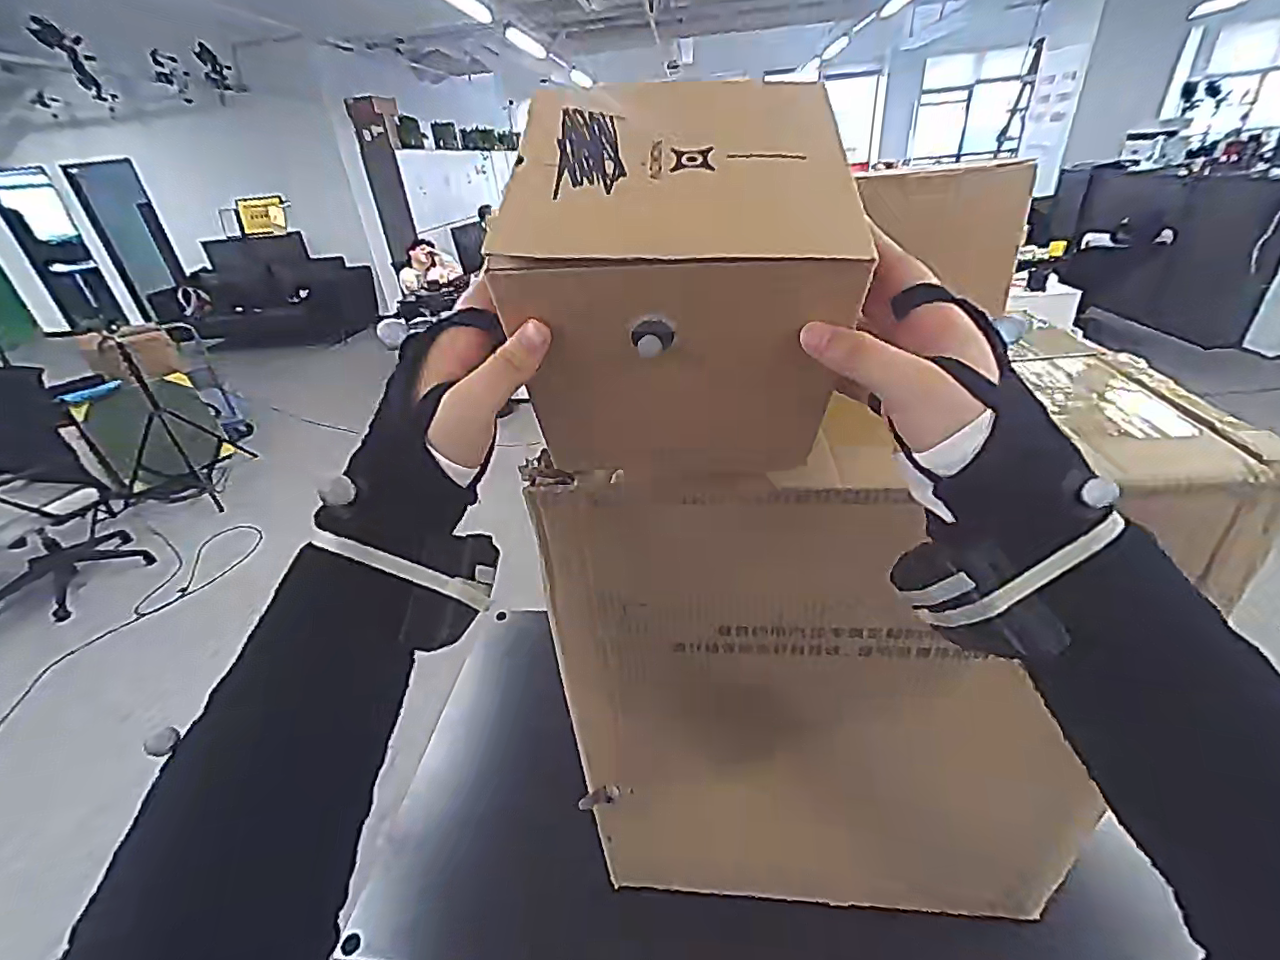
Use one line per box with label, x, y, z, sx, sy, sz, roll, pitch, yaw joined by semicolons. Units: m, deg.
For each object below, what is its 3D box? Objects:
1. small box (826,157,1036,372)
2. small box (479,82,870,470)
small box;0.242;-0.215;0.541;0.168;0.176;0.179;-3;29;5
small box;0.023;-0.117;0.345;0.179;0.176;0.168;0;57;5
